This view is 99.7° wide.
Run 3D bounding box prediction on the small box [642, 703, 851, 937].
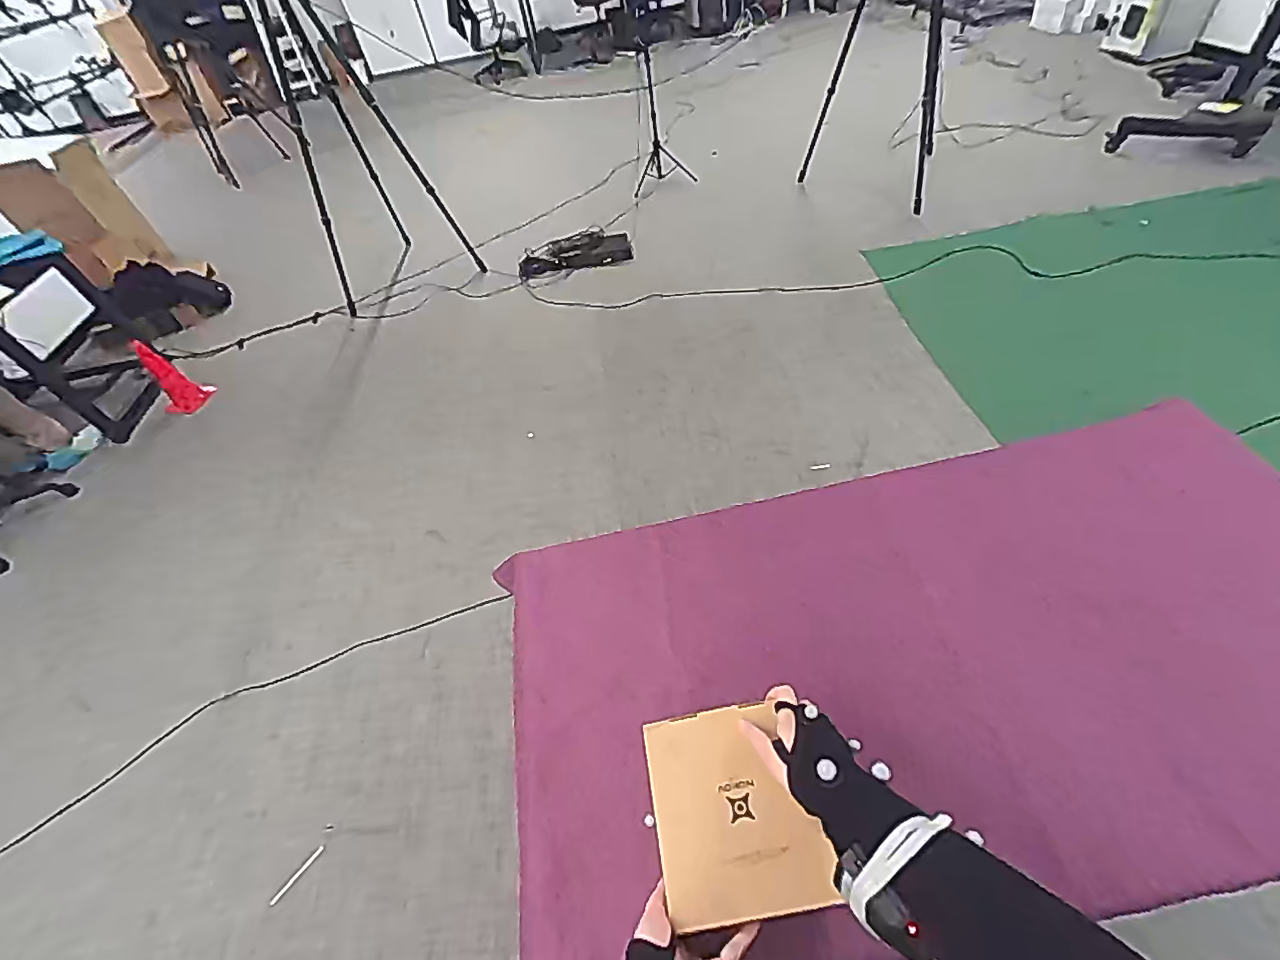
[{"bbox_3d":[0.102,0.364,0.578,0.168,0.176,0.179,-12,51,2],"label":"small box"}]
